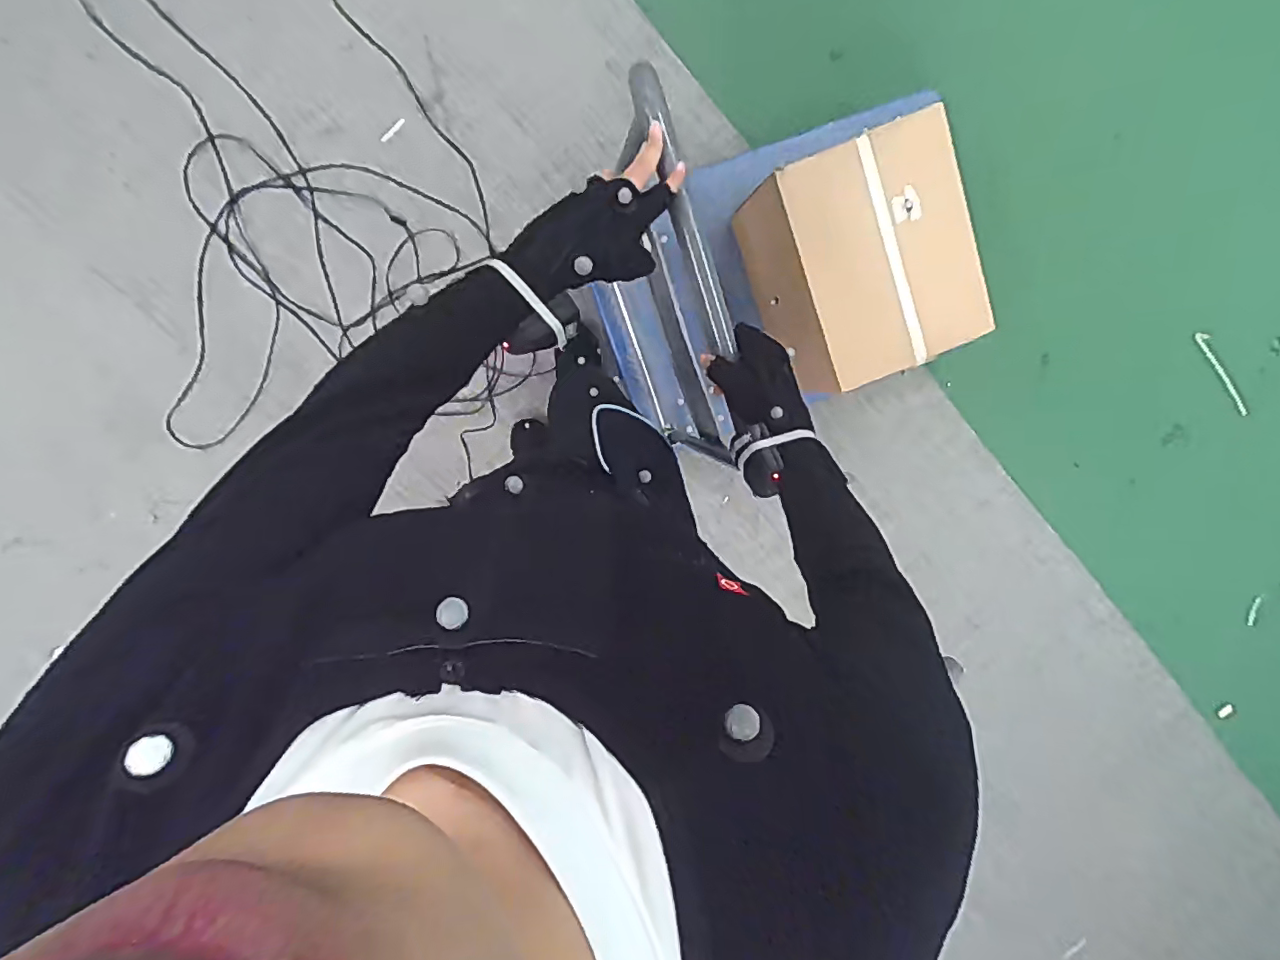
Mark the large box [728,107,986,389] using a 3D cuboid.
[{"bbox_3d":[0.420,-0.433,1.111,0.320,0.320,0.408,-23,102,-2],"label":"large box"}]
